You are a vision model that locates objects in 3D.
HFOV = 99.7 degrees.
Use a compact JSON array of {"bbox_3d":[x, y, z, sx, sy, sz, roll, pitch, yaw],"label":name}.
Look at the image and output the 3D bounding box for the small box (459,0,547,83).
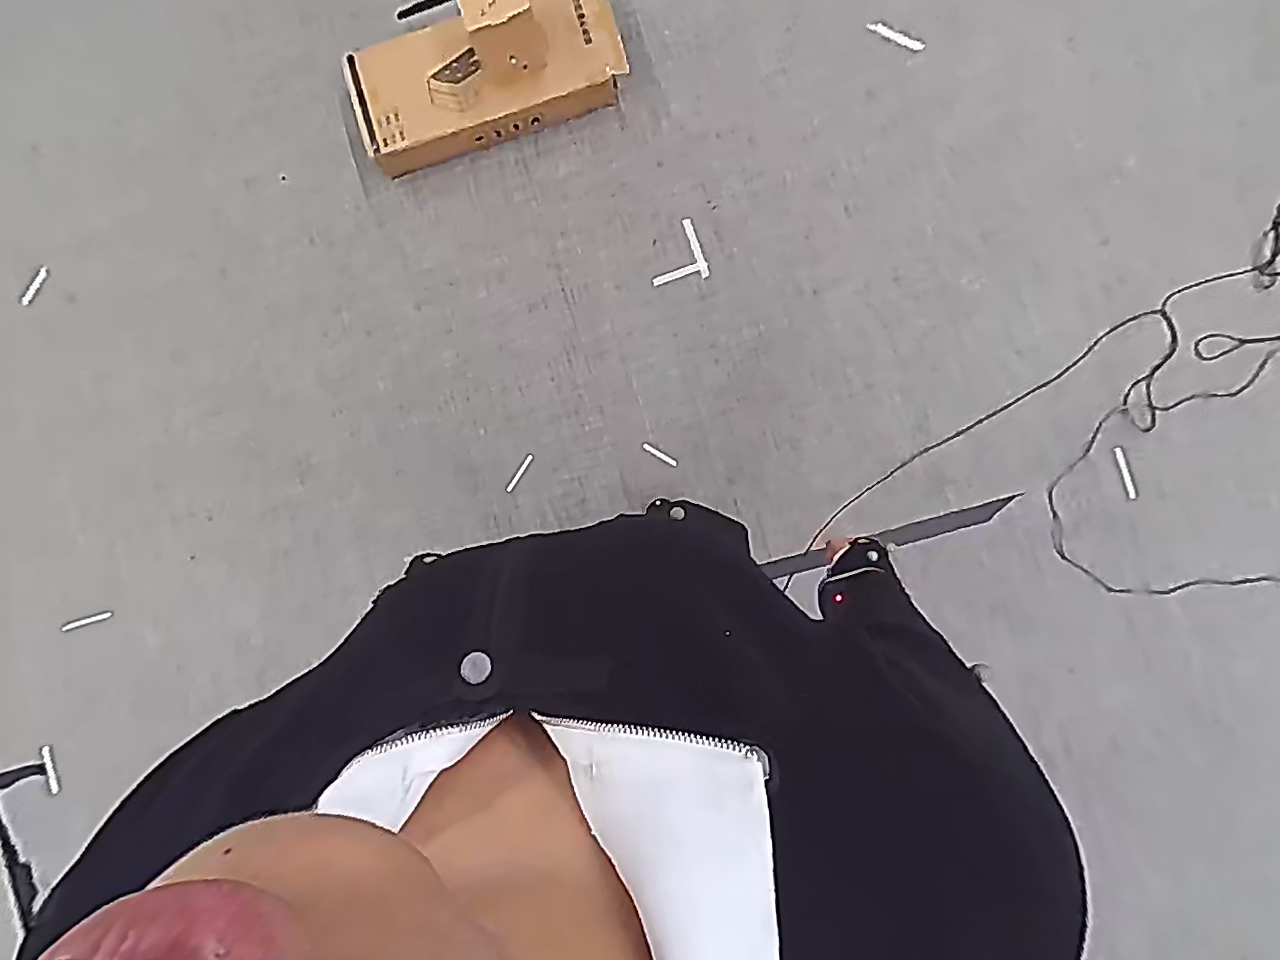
[{"bbox_3d":[-0.351,-1.162,1.360,0.168,0.176,0.179,-18,87,3],"label":"small box"}]
